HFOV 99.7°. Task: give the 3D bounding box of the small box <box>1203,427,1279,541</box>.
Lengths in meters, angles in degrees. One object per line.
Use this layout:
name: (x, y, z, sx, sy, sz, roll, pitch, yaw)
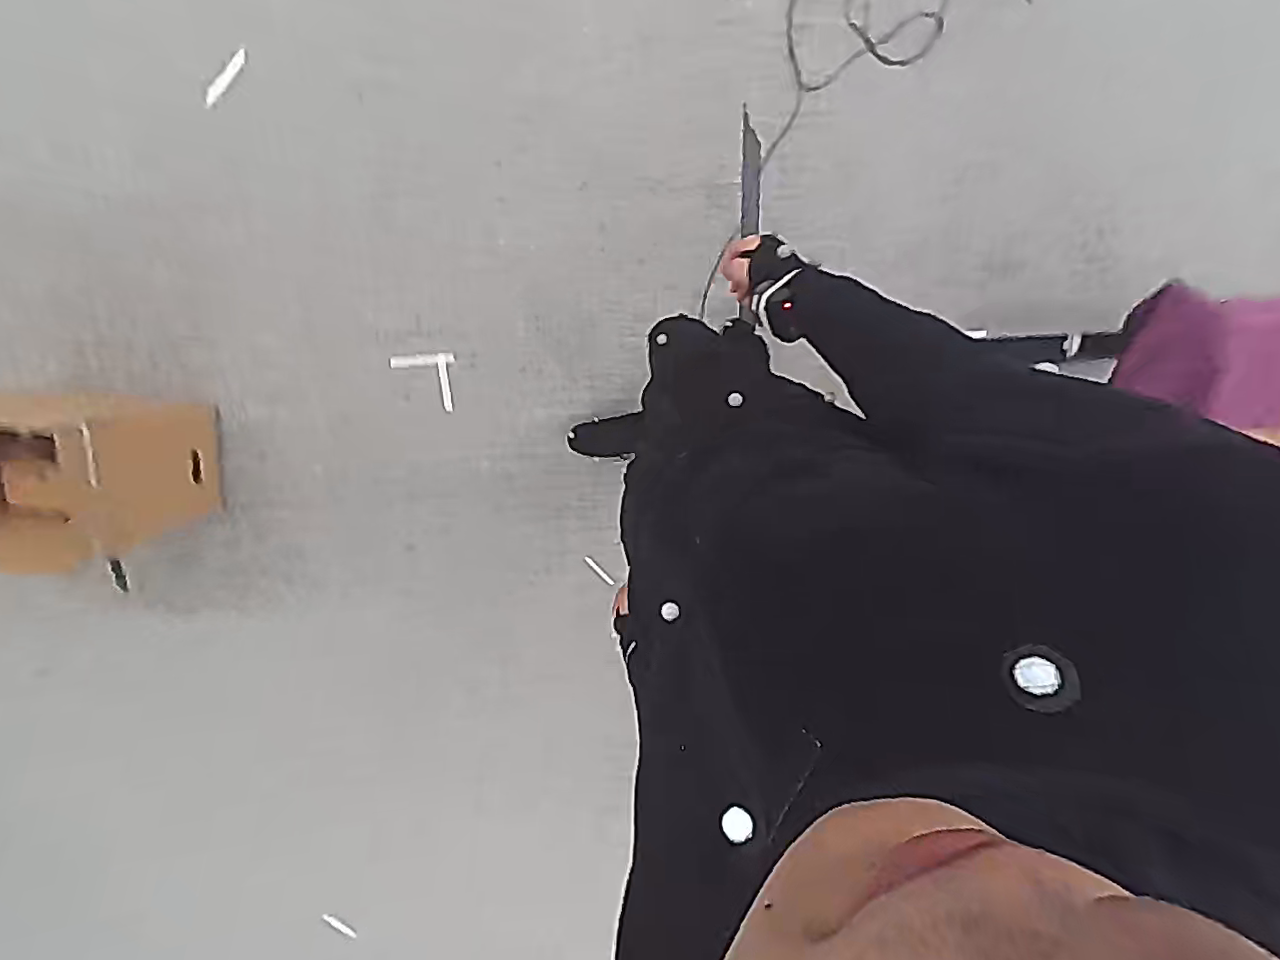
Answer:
small box: (1.084, 0.006, 0.877, 0.168, 0.176, 0.179, -4, 103, -3)
